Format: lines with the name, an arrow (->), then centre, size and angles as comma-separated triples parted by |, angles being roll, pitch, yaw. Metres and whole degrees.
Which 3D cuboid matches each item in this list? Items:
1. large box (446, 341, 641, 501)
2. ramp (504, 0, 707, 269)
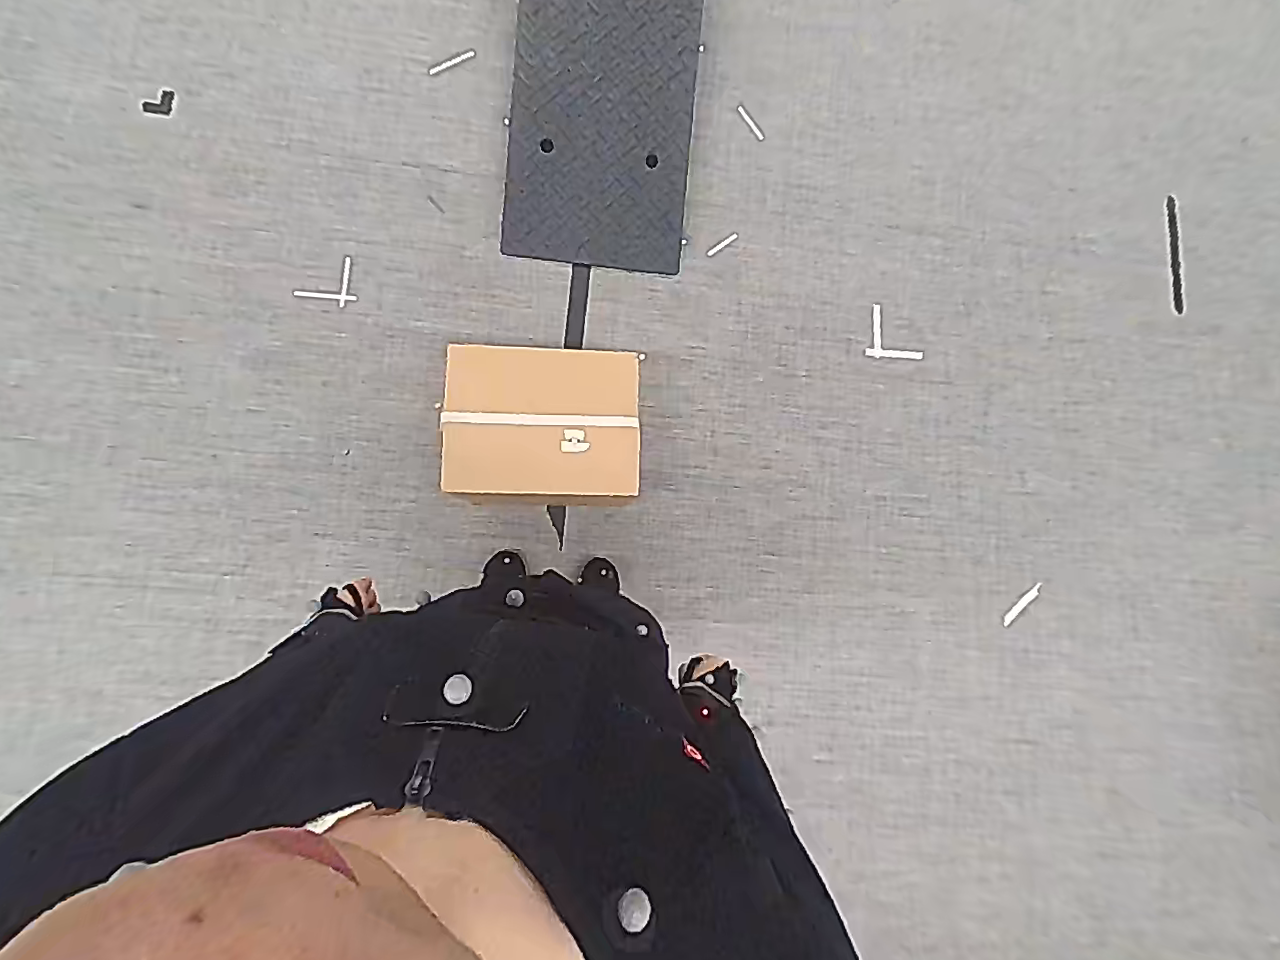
large box -> -0.216, -0.116, 1.273 | 0.408, 0.320, 0.320 | 2, 84, -7
ramp -> -0.079, -1.100, 1.453 | 0.509, 0.206, 0.991 | 4, 84, -7
